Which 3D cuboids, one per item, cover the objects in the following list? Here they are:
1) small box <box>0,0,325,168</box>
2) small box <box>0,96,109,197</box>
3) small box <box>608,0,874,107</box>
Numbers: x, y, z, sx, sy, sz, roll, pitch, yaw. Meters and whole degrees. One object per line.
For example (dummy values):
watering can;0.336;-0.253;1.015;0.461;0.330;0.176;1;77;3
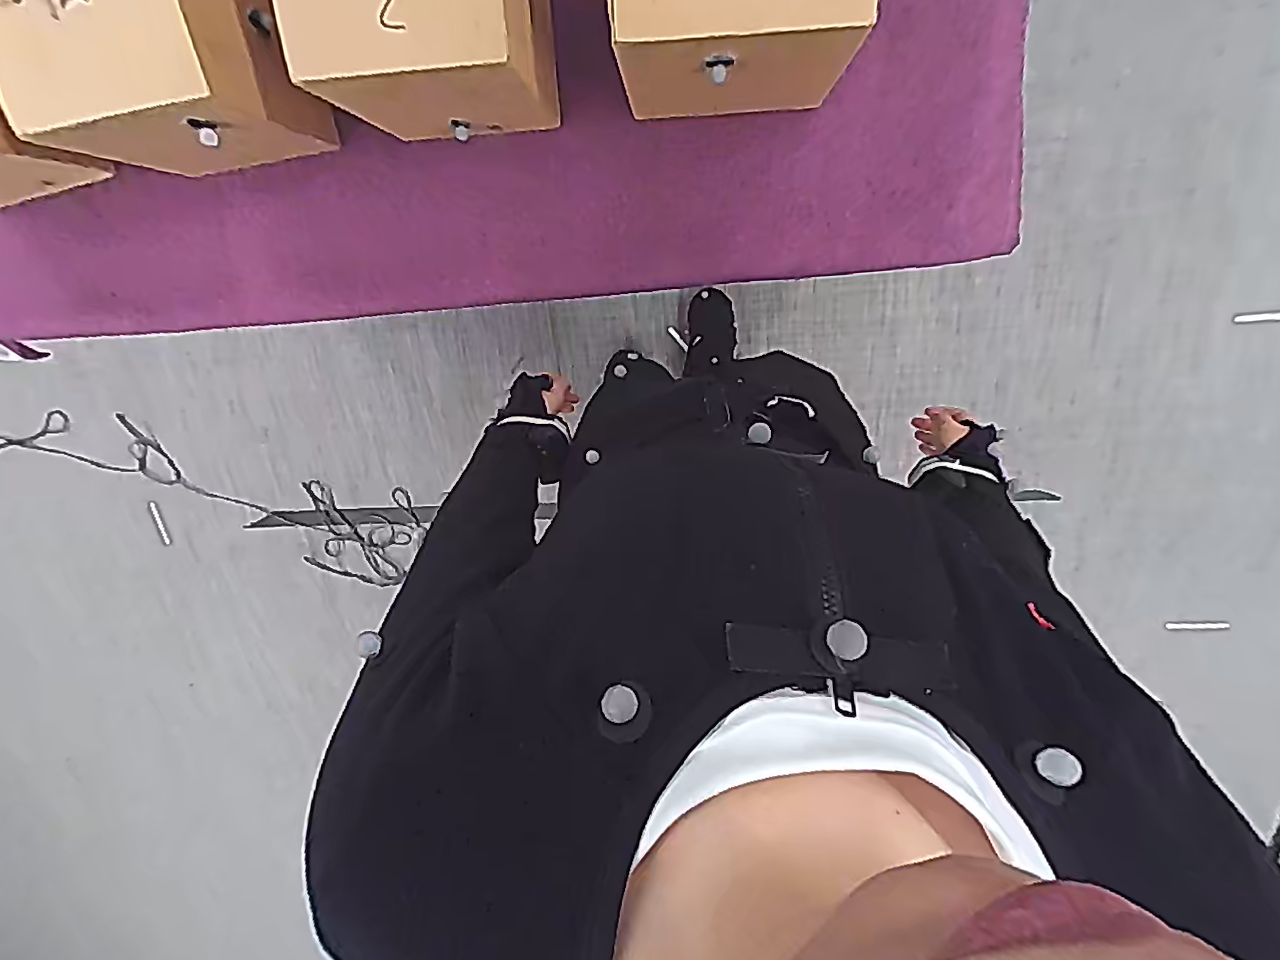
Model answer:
small box;-0.406;-0.384;0.460;0.179;0.176;0.168;-6;109;7
small box;-0.661;-0.370;0.491;0.168;0.176;0.179;-9;109;8
small box;0.071;-0.404;0.408;0.179;0.176;0.168;0;109;5
